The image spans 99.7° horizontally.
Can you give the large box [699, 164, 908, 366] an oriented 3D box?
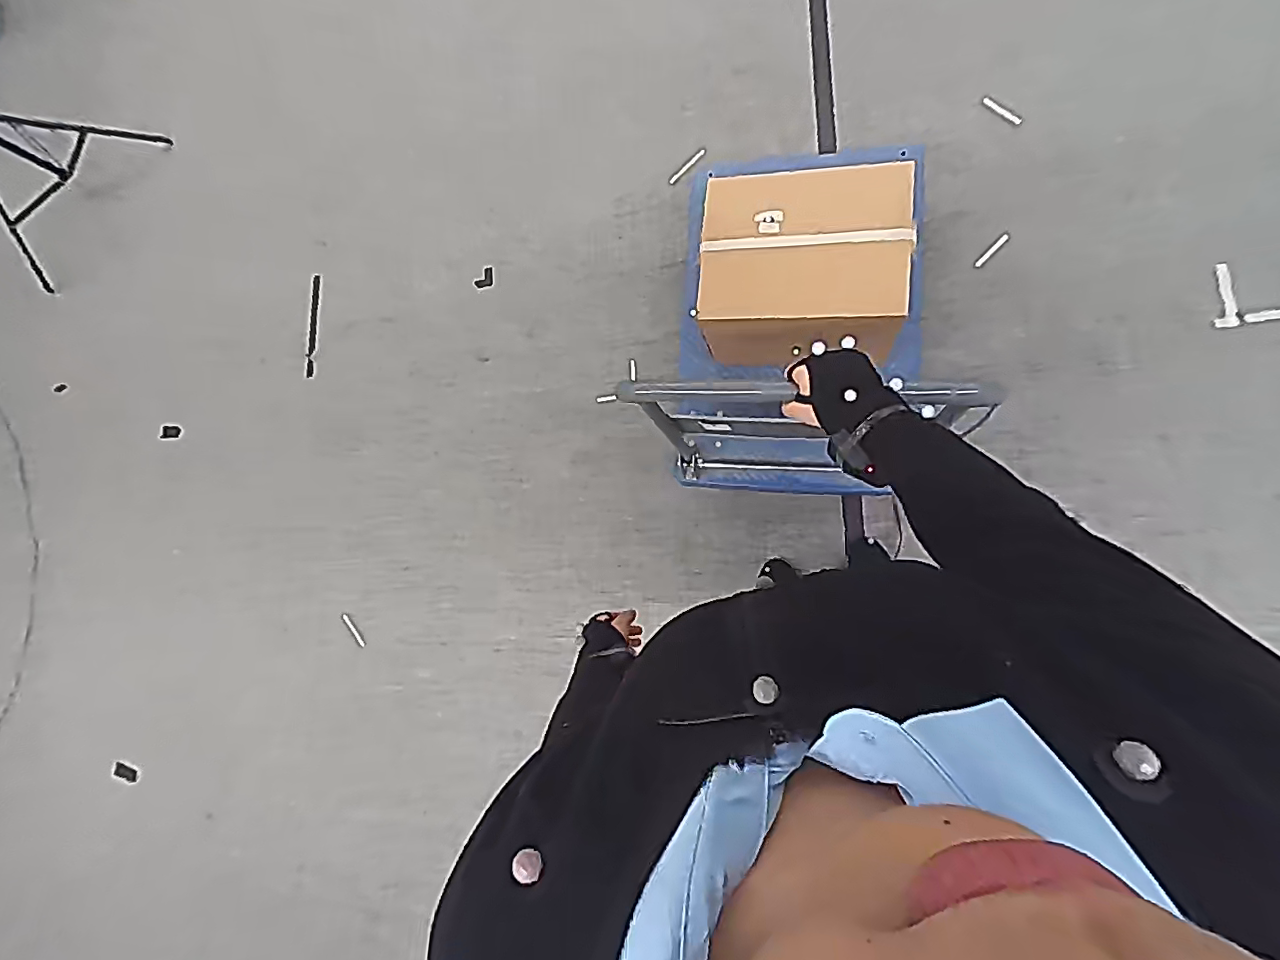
[{"bbox_3d":[0.369,-0.457,1.238,0.408,0.320,0.320,3,83,17],"label":"large box"}]
